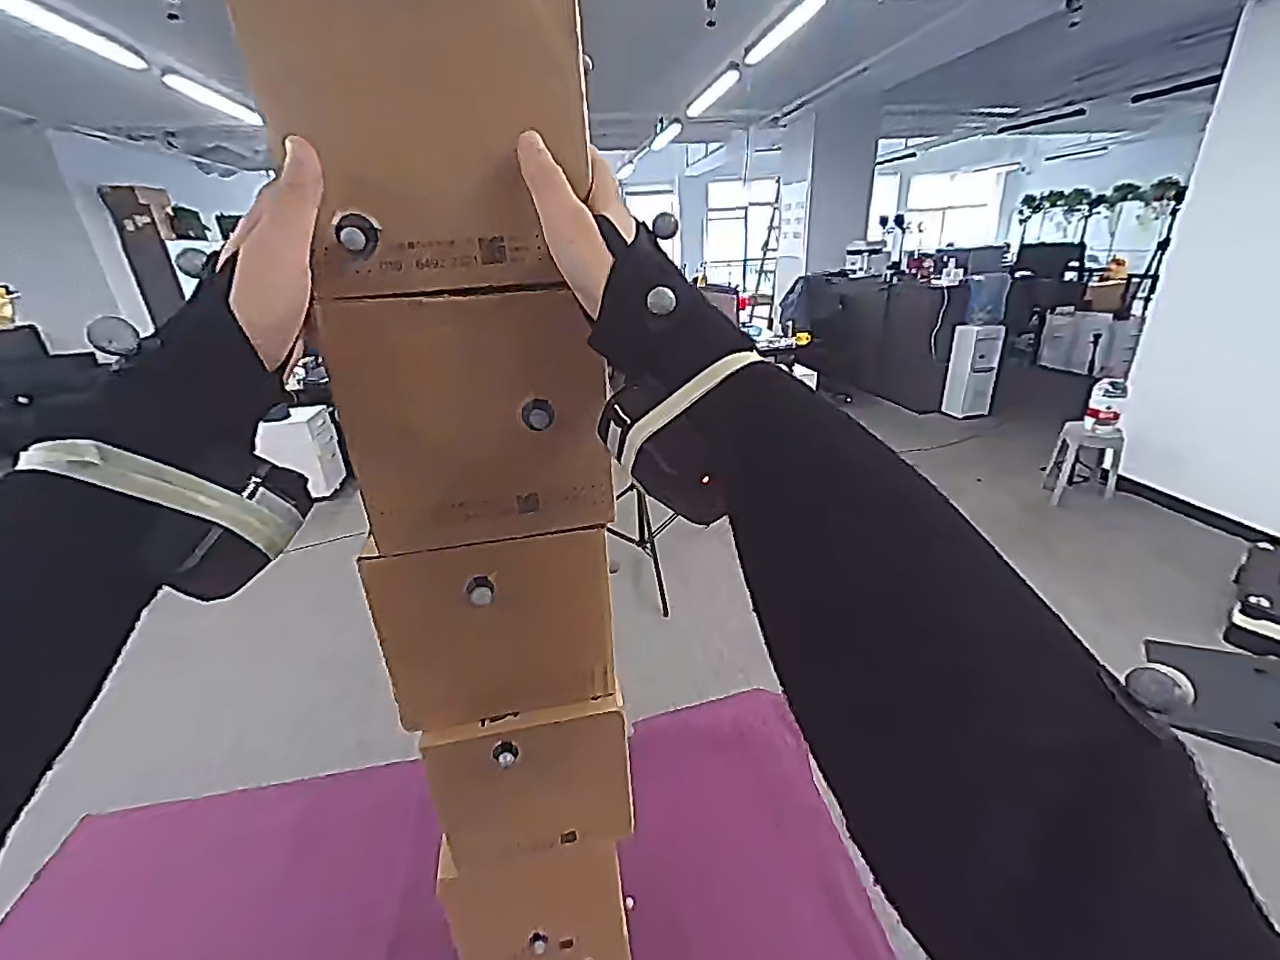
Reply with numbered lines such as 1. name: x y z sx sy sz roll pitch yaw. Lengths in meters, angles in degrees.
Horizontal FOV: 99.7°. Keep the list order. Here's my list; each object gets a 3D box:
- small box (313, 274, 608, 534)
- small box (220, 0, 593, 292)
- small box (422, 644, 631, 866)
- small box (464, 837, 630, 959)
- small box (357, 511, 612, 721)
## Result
1. small box: -0.121 -0.066 0.425 0.168 0.176 0.179 -7 24 -11
2. small box: -0.127 -0.220 0.359 0.168 0.176 0.179 -8 24 -9
3. small box: -0.105 0.236 0.544 0.168 0.176 0.179 -7 24 -9
4. small box: -0.107 0.537 0.673 0.179 0.176 0.168 -8 23 -8
5. small box: -0.122 0.084 0.487 0.179 0.176 0.168 -8 25 -9
